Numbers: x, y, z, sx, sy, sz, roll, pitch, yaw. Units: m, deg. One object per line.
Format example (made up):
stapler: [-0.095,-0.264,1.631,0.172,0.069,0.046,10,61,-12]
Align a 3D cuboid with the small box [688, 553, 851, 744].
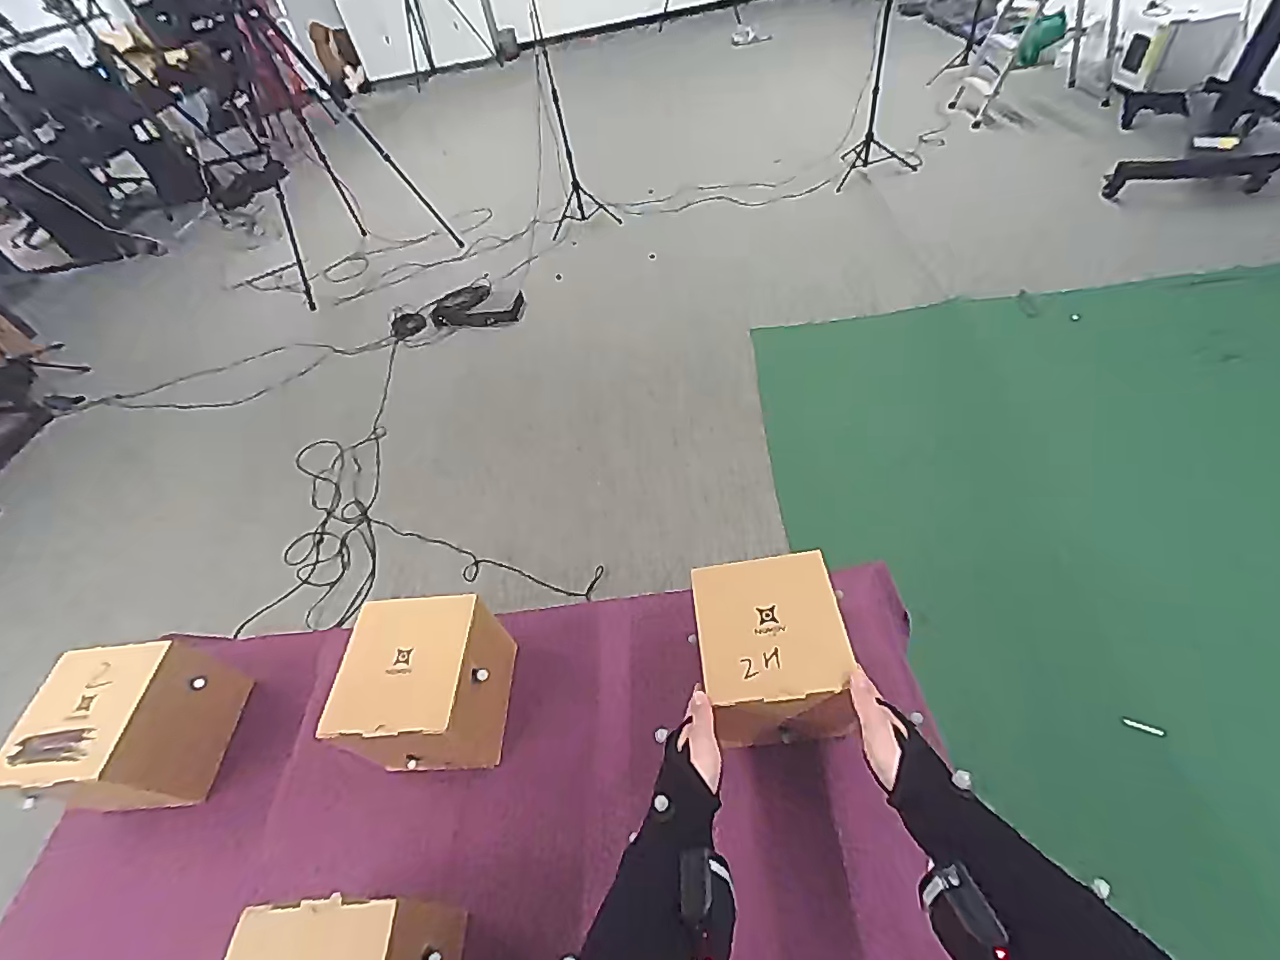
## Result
small box: [0.160,0.219,0.694,0.168,0.176,0.179,-11,50,9]

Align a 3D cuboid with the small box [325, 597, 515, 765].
small box: [-0.286,0.282,0.753,0.168,0.176,0.179,-6,52,8]

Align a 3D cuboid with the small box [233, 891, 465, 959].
small box: [-0.296,0.533,0.543,0.168,0.176,0.179,-8,48,8]
